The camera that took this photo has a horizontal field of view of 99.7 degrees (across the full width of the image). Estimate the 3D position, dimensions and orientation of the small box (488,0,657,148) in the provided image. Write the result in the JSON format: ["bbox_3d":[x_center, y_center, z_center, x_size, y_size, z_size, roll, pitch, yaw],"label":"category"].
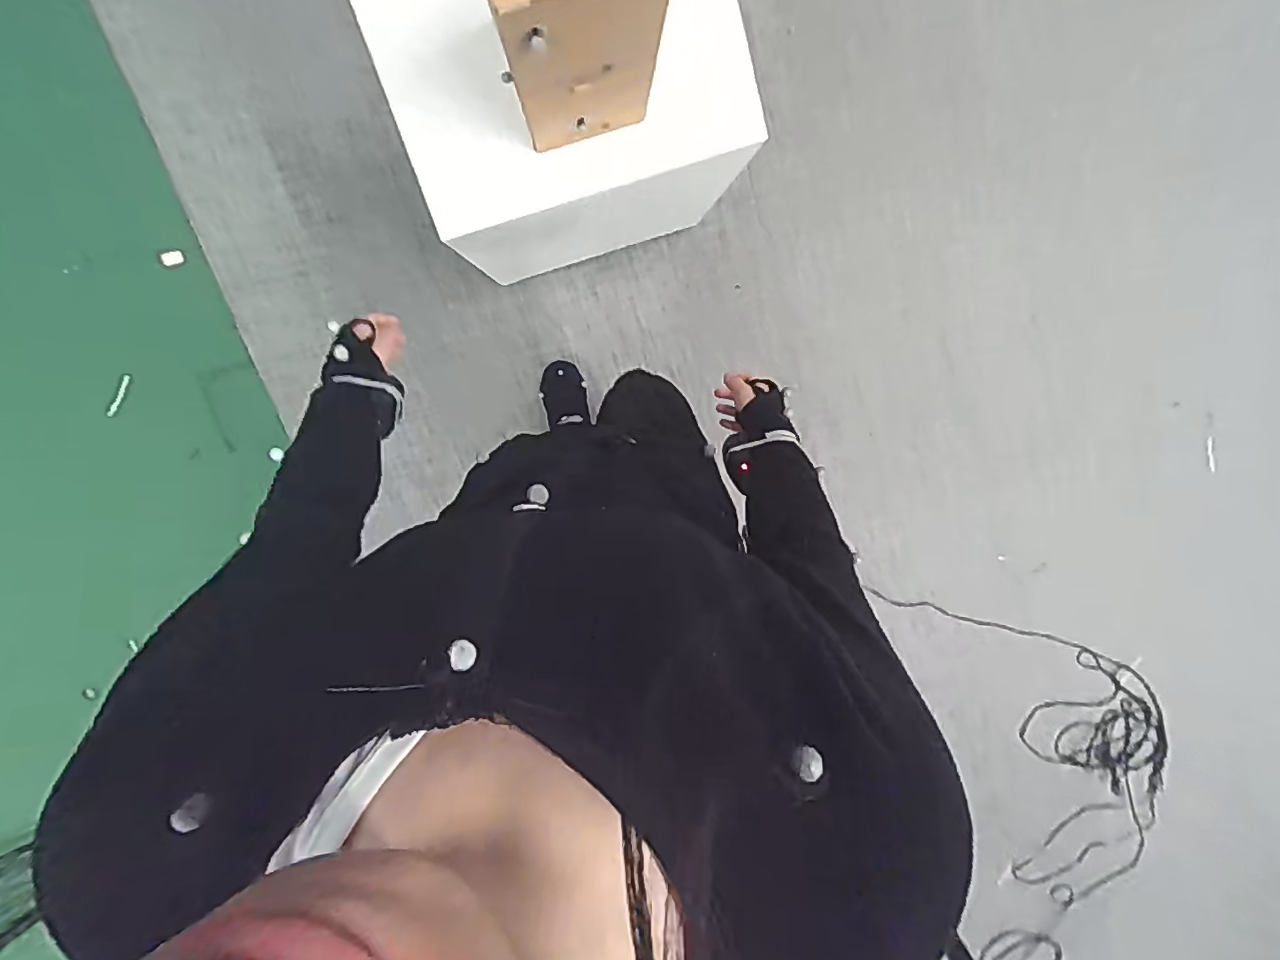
[{"bbox_3d":[-0.089,-0.552,0.666,0.168,0.176,0.179,-18,103,-1],"label":"small box"}]
